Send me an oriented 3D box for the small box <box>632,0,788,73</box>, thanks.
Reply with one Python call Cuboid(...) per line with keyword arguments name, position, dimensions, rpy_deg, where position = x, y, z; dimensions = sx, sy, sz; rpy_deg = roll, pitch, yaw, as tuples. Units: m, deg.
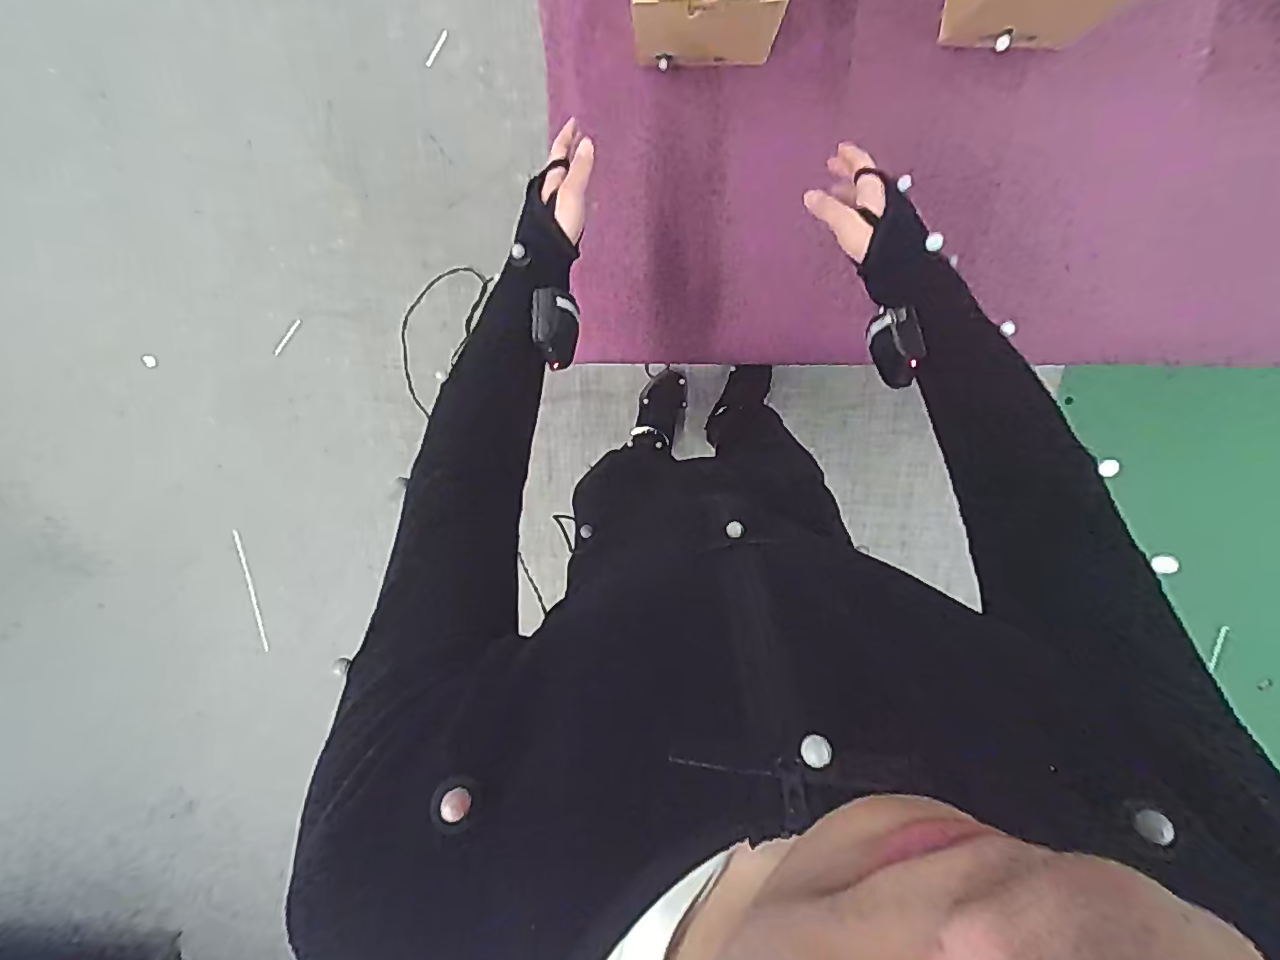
Cuboid(name="small box", position=(0.081, -0.593, 0.613), dimensions=(0.168, 0.176, 0.179), rpy_deg=(2, 107, 3))
